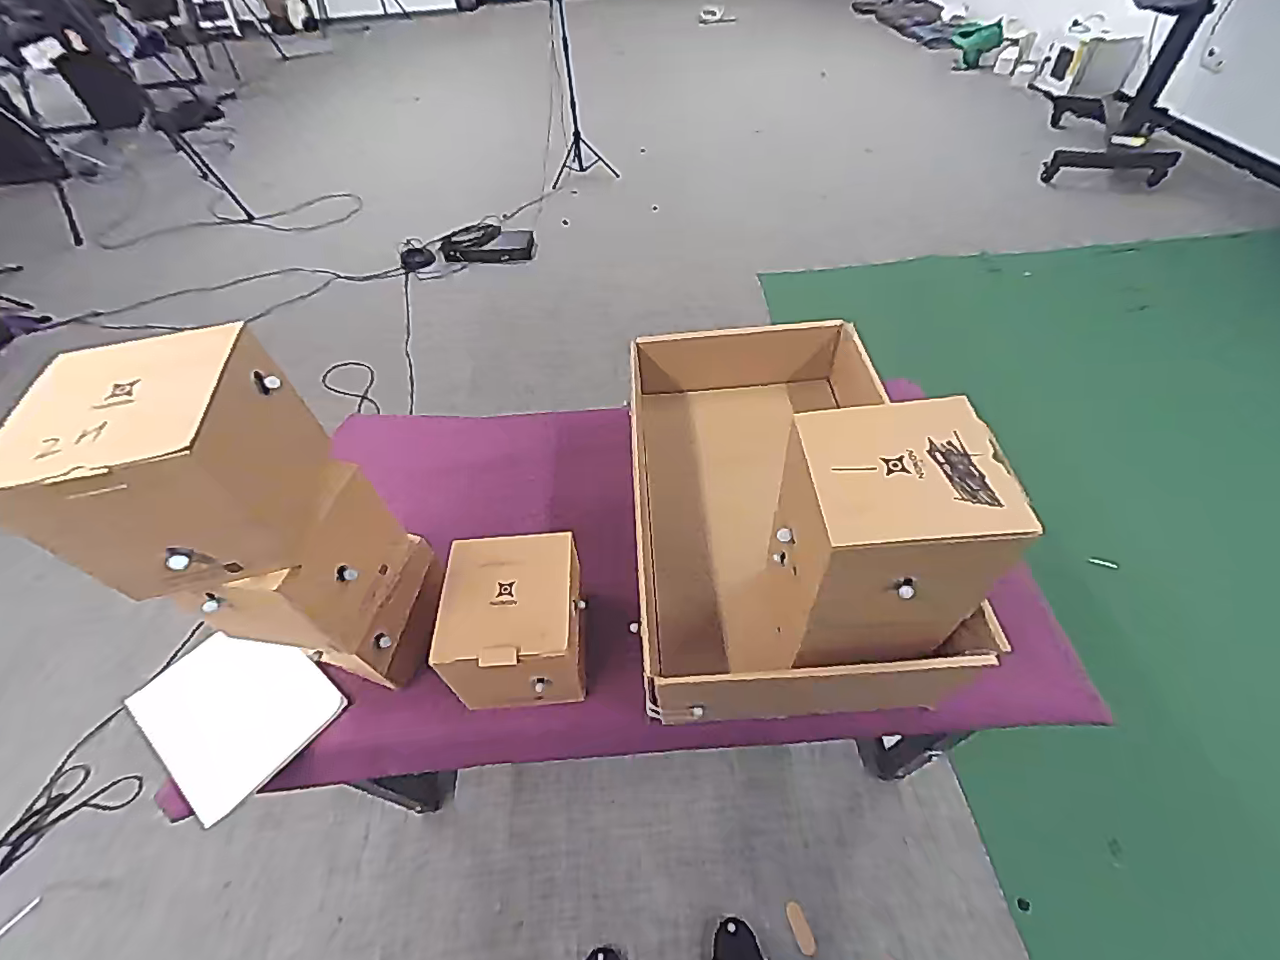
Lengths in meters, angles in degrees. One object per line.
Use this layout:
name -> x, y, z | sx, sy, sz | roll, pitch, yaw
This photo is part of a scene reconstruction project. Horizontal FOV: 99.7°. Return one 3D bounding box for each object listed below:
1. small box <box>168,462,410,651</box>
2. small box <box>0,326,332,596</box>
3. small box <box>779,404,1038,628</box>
small box -> -0.408, 0.089, 0.642 | 0.179, 0.176, 0.168 | 5, 51, 9
small box -> -0.424, -0.017, 0.517 | 0.168, 0.176, 0.179 | -12, 51, -5
small box -> 0.253, 0.042, 0.565 | 0.179, 0.176, 0.168 | -5, 50, 4
